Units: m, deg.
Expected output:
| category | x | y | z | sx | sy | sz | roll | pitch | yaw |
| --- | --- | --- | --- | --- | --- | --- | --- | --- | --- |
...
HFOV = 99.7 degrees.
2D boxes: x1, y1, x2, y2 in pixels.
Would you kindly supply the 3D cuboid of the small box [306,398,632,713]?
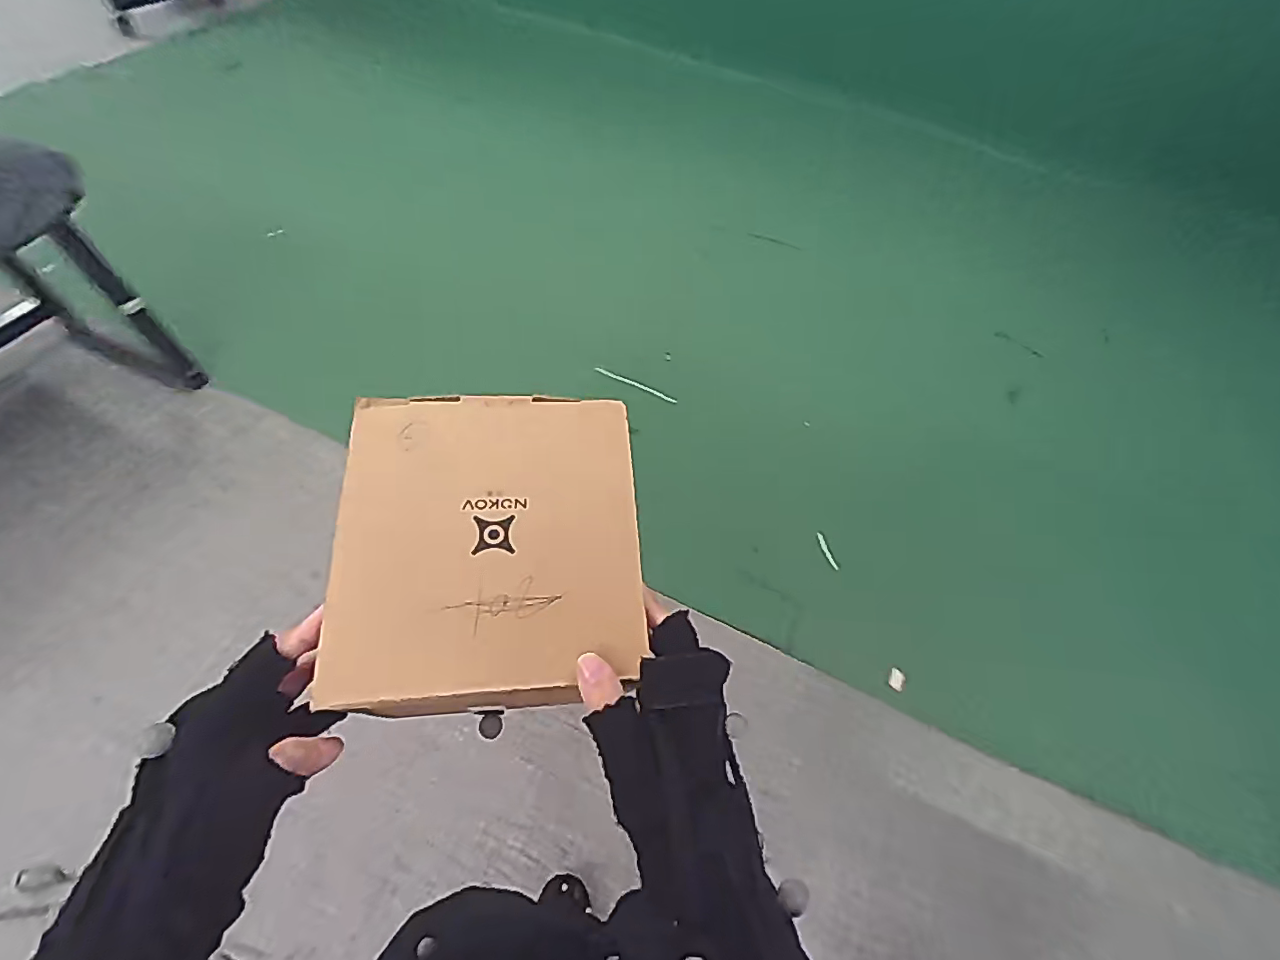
| category | x | y | z | sx | sy | sz | roll | pitch | yaw |
| --- | --- | --- | --- | --- | --- | --- | --- | --- | --- |
| small box | -0.103 | 0.060 | 0.384 | 0.168 | 0.176 | 0.179 | -2 | 65 | -9 |
